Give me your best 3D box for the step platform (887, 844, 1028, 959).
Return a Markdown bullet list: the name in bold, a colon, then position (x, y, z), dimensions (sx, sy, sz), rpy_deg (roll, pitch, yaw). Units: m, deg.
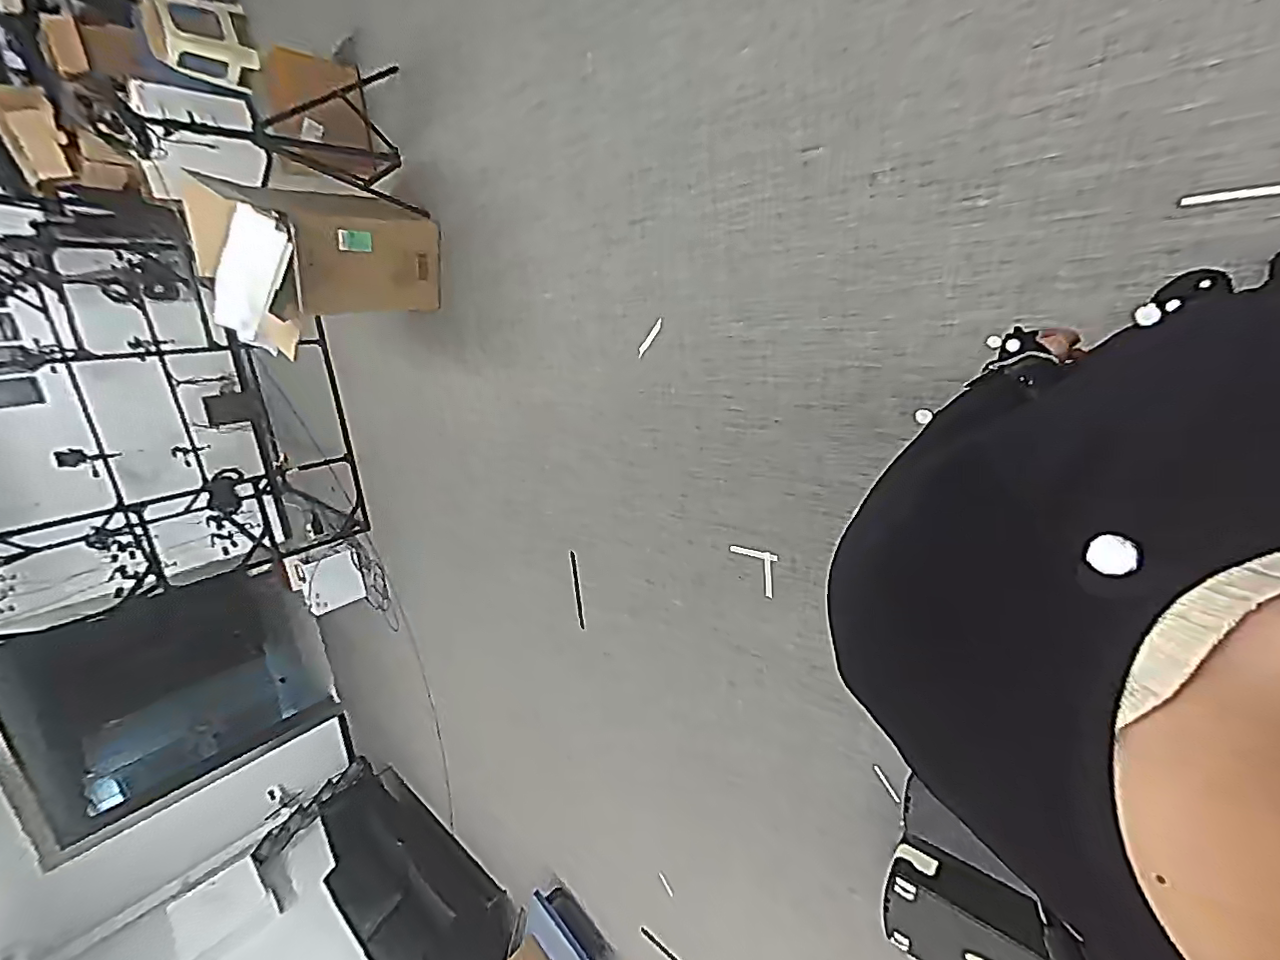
- **step platform**: position (0.990, 1.273, 1.343), dimensions (0.684, 0.204, 0.286), rpy_deg (18, 116, 41)
